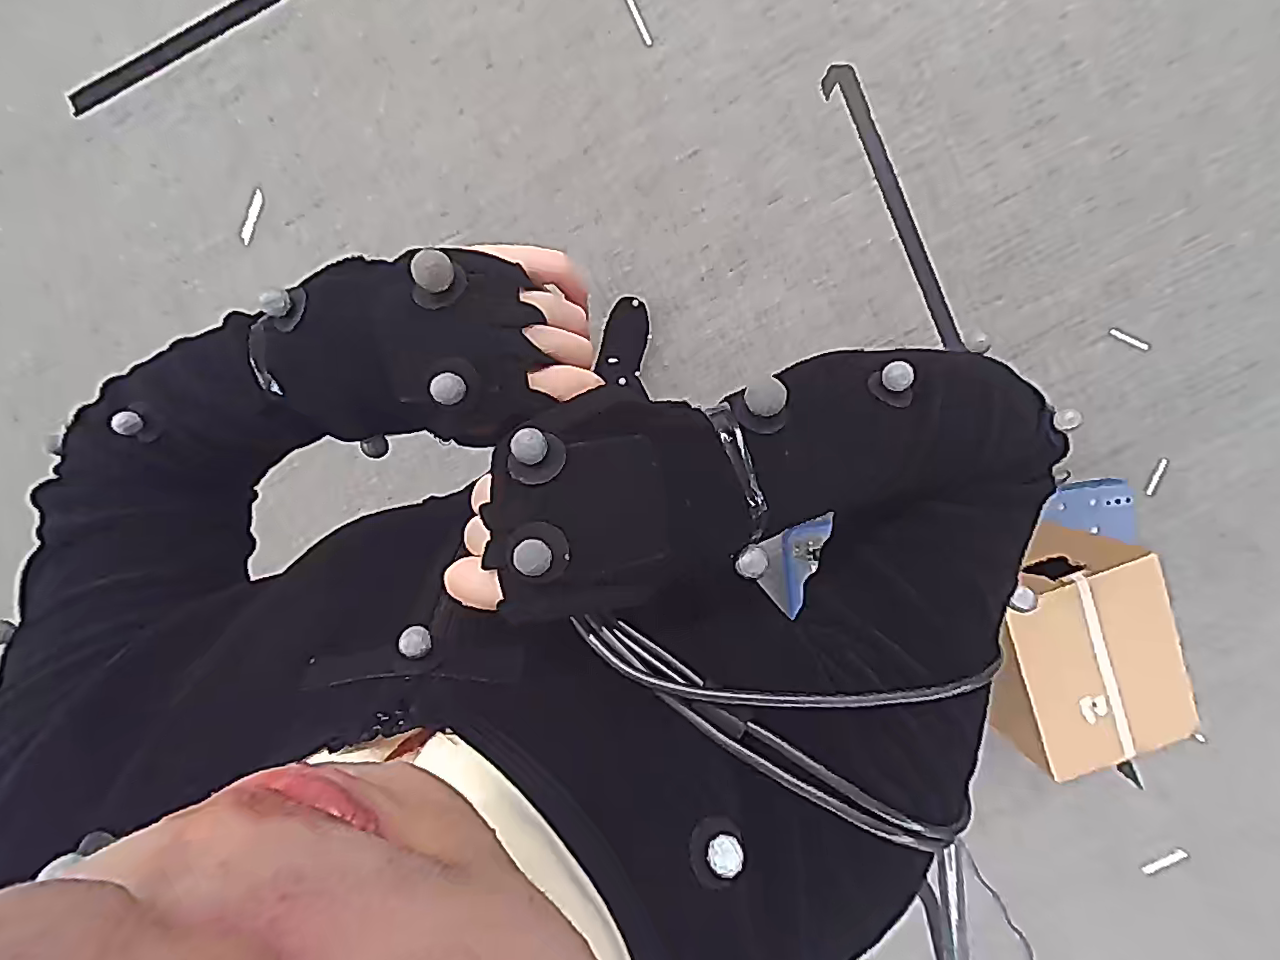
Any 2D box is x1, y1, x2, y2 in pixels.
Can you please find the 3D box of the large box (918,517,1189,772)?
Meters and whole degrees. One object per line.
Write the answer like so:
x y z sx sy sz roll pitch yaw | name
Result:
0.900 0.343 1.221 0.320 0.320 0.408 -20 98 2 | large box
